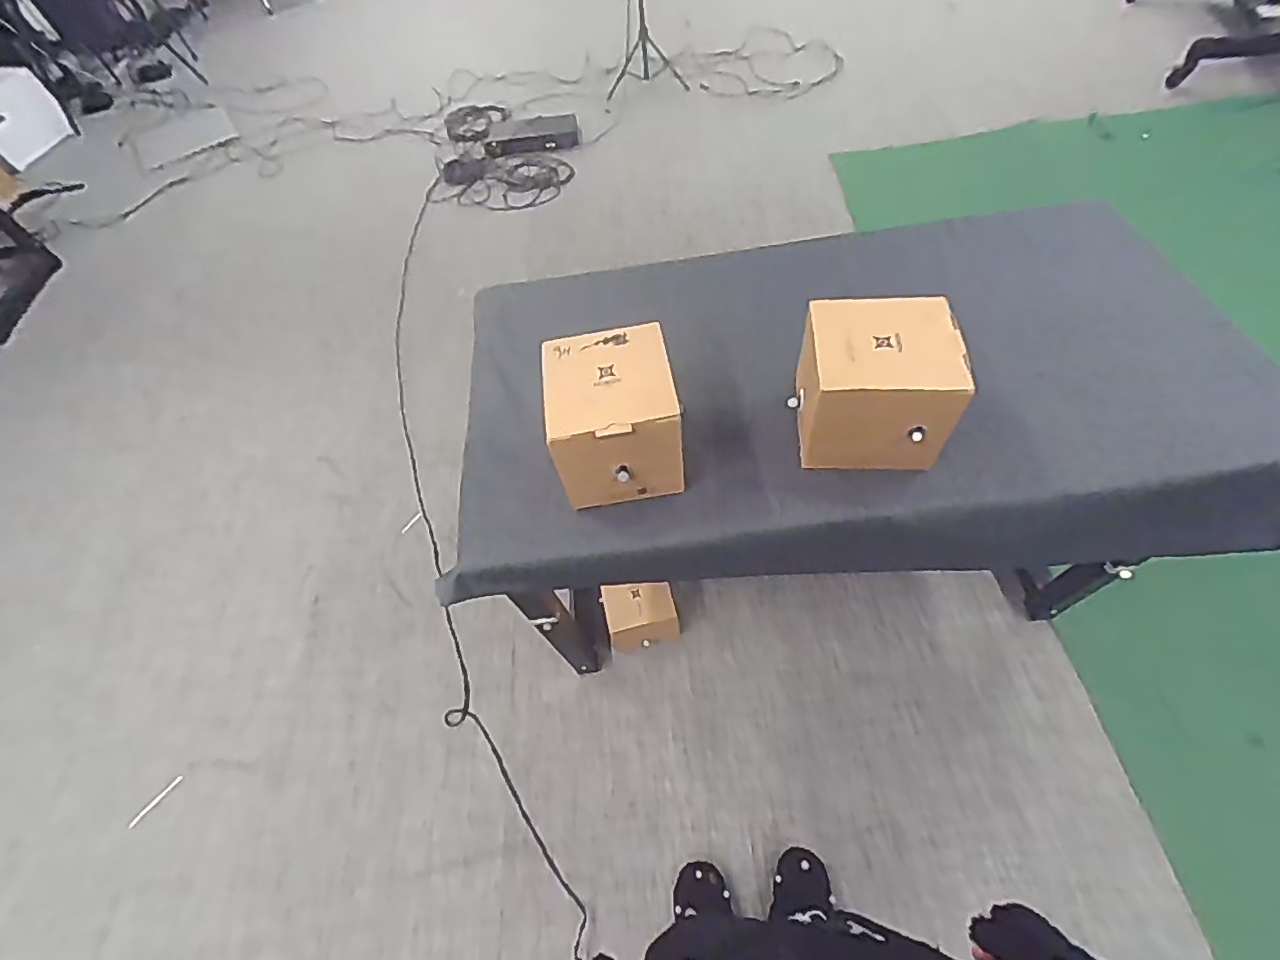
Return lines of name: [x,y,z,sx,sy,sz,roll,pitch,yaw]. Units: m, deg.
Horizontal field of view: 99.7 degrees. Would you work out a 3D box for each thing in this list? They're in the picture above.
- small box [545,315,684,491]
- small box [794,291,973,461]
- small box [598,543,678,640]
small box: [-0.032,-0.098,0.760,0.168,0.176,0.179,-9,57,0]
small box: [0.318,-0.138,0.747,0.179,0.176,0.168,0,57,8]
small box: [-0.003,0.288,1.381,0.168,0.176,0.179,-14,59,-2]
